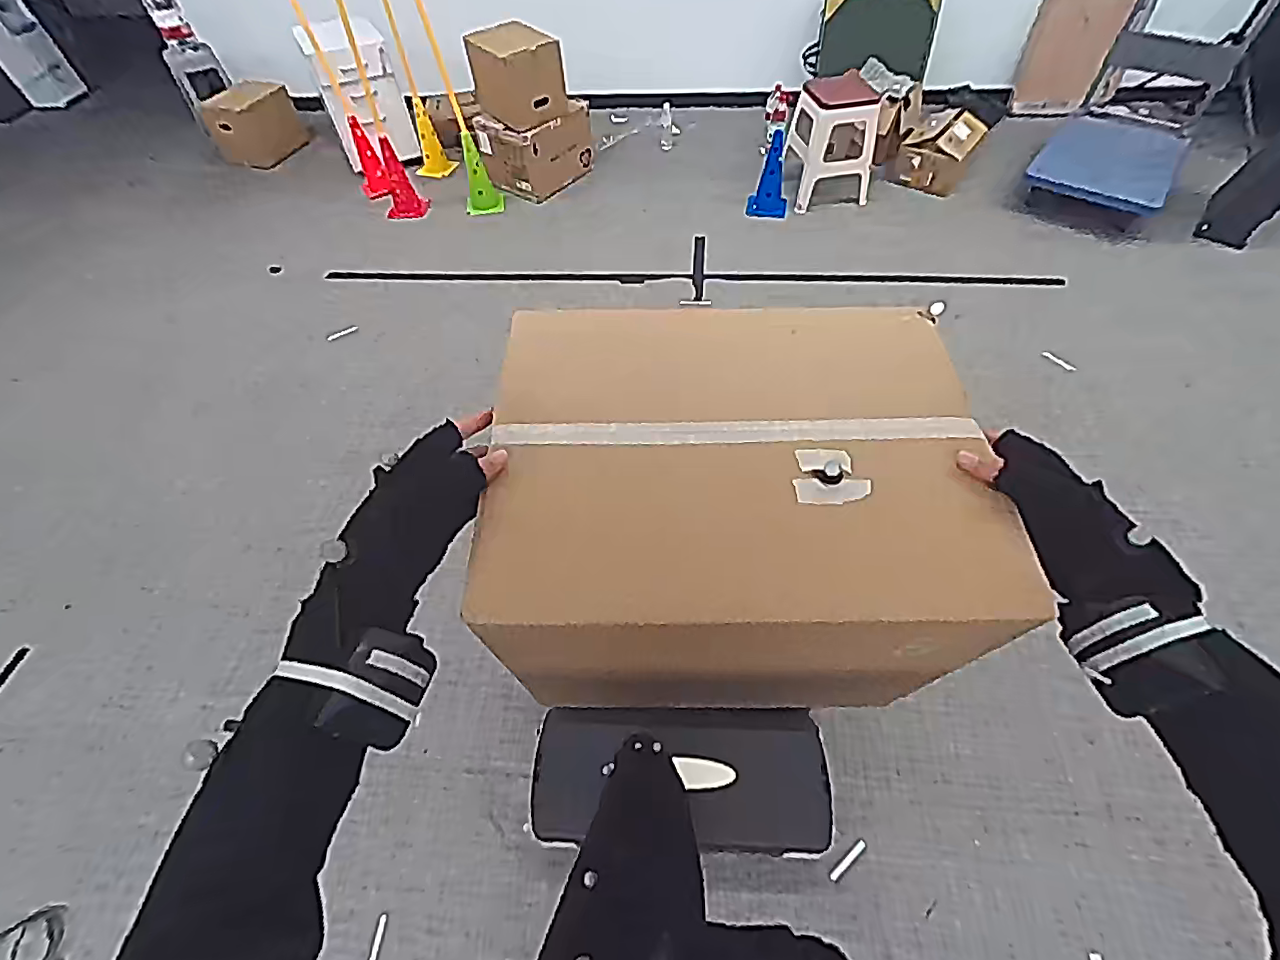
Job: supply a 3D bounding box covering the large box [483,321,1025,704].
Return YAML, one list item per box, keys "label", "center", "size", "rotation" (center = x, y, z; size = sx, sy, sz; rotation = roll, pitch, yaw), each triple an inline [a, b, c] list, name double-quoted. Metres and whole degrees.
- label: "large box"
  center: [0.079, 0.050, 0.593]
  size: [0.408, 0.320, 0.320]
  rotation: [0, 58, 0]
